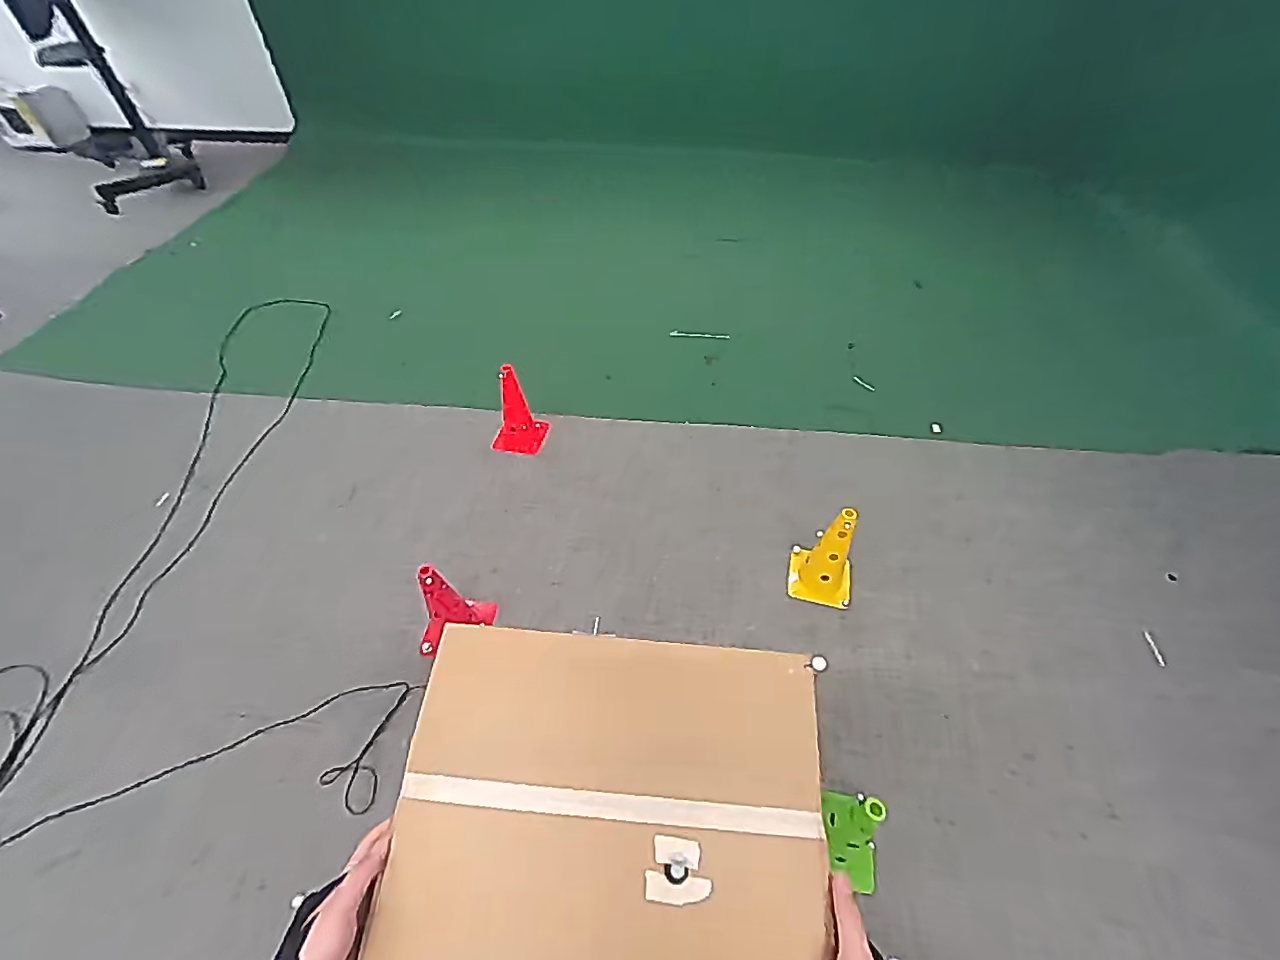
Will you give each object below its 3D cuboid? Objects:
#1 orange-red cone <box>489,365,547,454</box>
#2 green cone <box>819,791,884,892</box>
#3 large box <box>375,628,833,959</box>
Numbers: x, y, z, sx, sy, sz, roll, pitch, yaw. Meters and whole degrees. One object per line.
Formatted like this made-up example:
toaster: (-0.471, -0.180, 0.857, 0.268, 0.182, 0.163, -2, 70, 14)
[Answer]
orange-red cone: (-0.512, -0.300, 2.136, 0.199, 0.360, 0.198, 9, 49, 9)
green cone: (0.474, 0.778, 1.223, 0.200, 0.368, 0.202, 9, 49, 7)
large box: (-0.025, 0.385, 0.655, 0.408, 0.320, 0.320, 4, 61, 2)
